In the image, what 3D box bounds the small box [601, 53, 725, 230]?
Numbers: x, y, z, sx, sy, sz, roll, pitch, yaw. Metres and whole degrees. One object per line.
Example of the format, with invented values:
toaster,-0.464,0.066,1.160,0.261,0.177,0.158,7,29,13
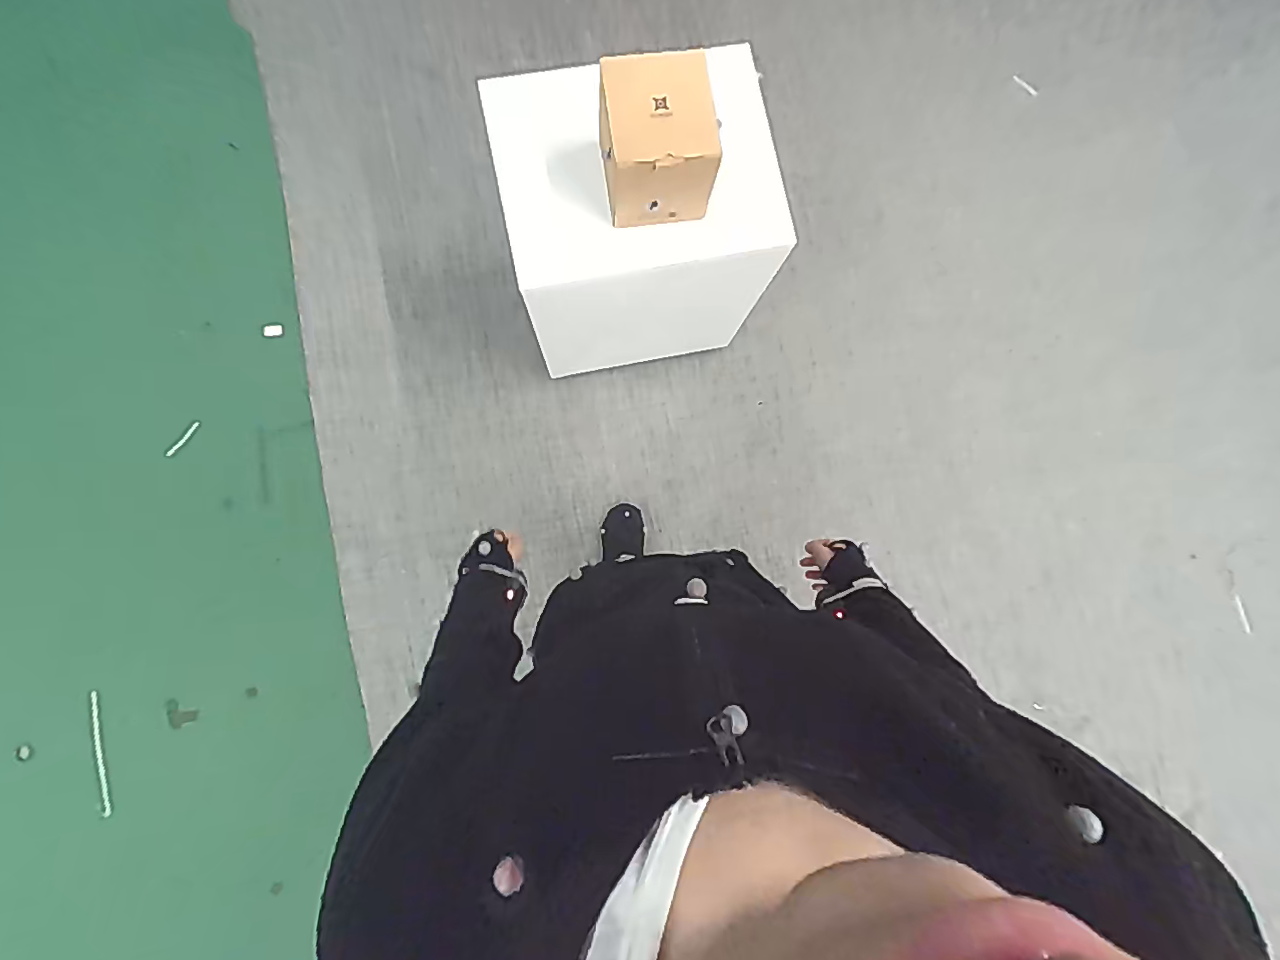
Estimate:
small box,0.027,-0.540,0.880,0.168,0.176,0.179,-9,84,-4
